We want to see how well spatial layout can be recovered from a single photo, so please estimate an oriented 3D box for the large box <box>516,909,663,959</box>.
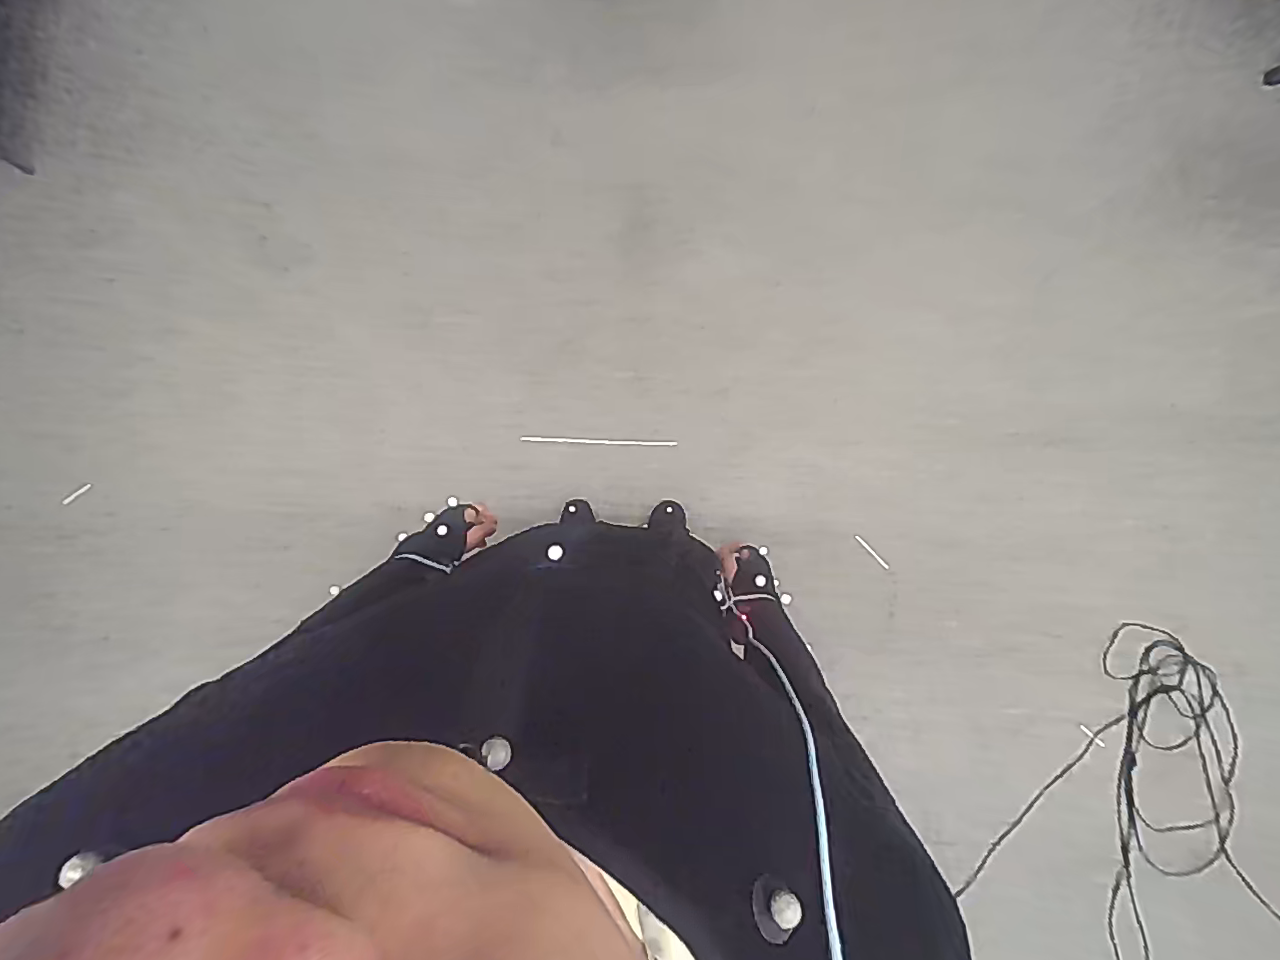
[{"bbox_3d":[-0.125,1.436,1.446,0.408,0.320,0.320,-6,87,-1],"label":"large box"}]
